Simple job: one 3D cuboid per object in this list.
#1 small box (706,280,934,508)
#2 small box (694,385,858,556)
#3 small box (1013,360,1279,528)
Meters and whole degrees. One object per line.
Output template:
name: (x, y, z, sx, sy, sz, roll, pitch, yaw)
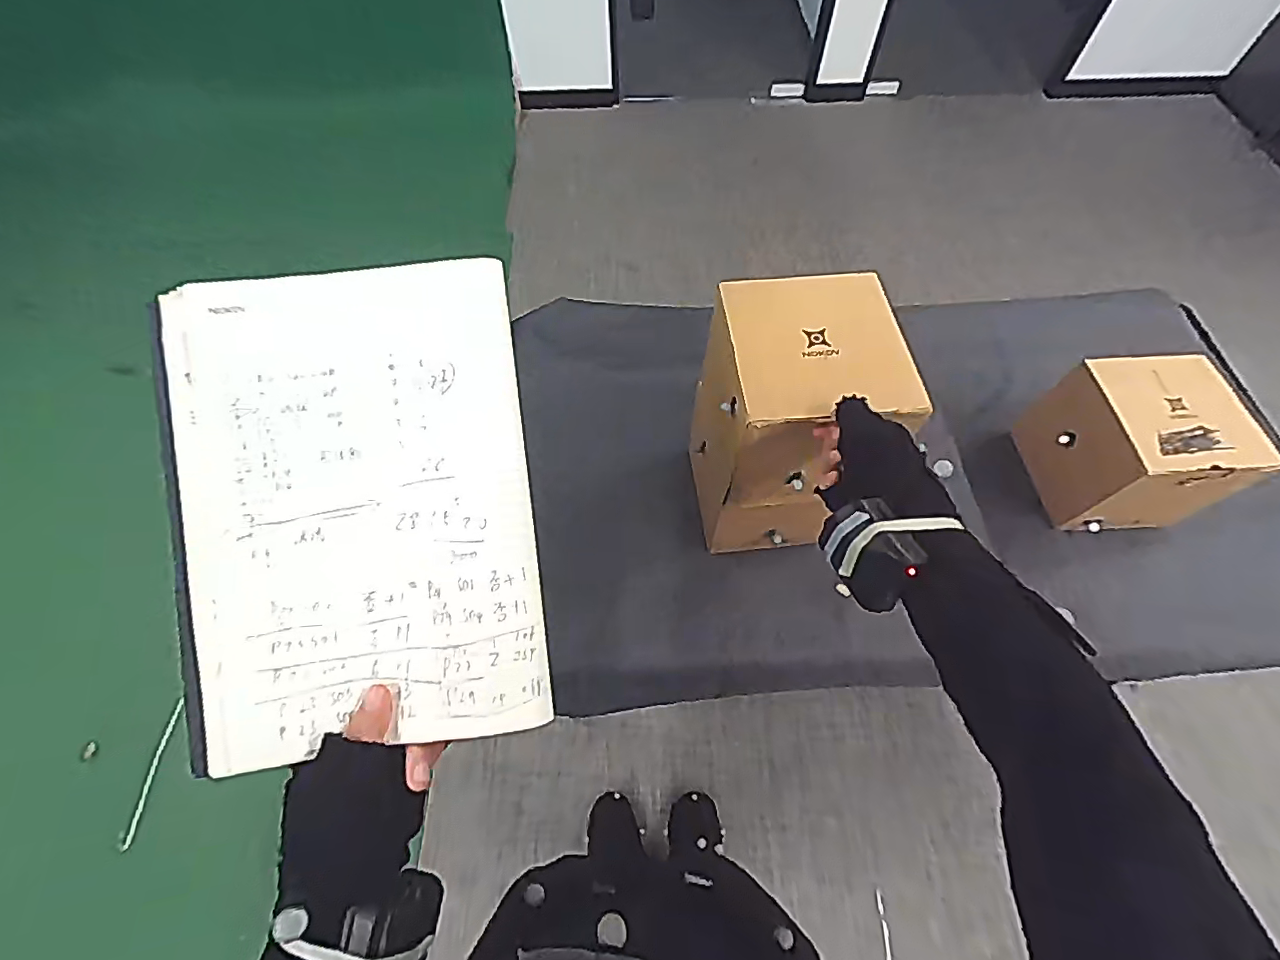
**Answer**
small box: (0.171, -0.087, 0.583, 0.168, 0.176, 0.179, -5, 61, -3)
small box: (0.169, -0.015, 0.728, 0.168, 0.176, 0.179, -6, 60, -3)
small box: (0.665, -0.041, 0.741, 0.168, 0.176, 0.179, -2, 59, -1)
